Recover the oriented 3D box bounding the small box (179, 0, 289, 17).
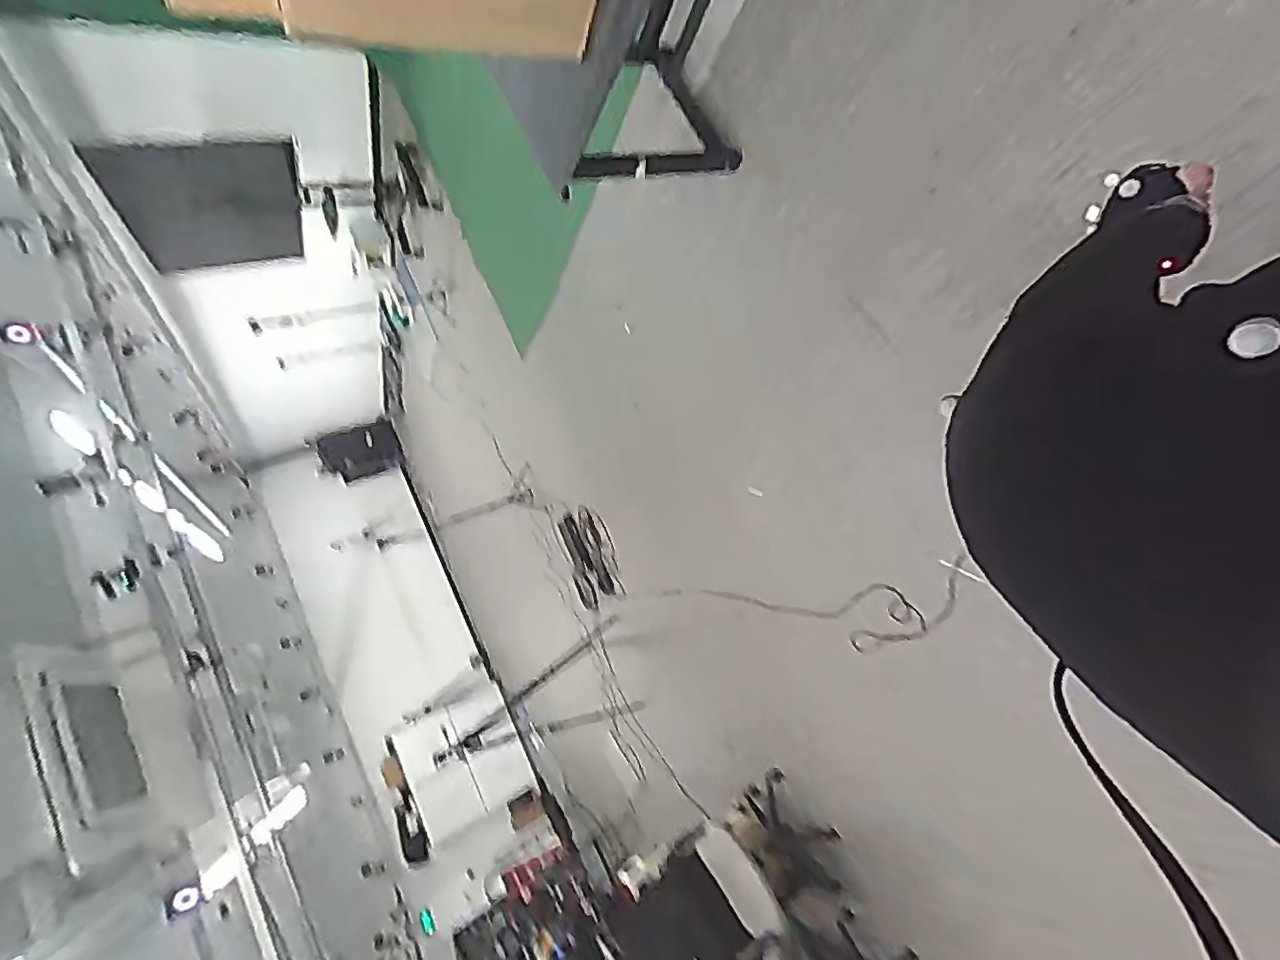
[{"bbox_3d":[-0.714,-0.917,0.899,0.168,0.176,0.179,61,152,11],"label":"small box"}]
